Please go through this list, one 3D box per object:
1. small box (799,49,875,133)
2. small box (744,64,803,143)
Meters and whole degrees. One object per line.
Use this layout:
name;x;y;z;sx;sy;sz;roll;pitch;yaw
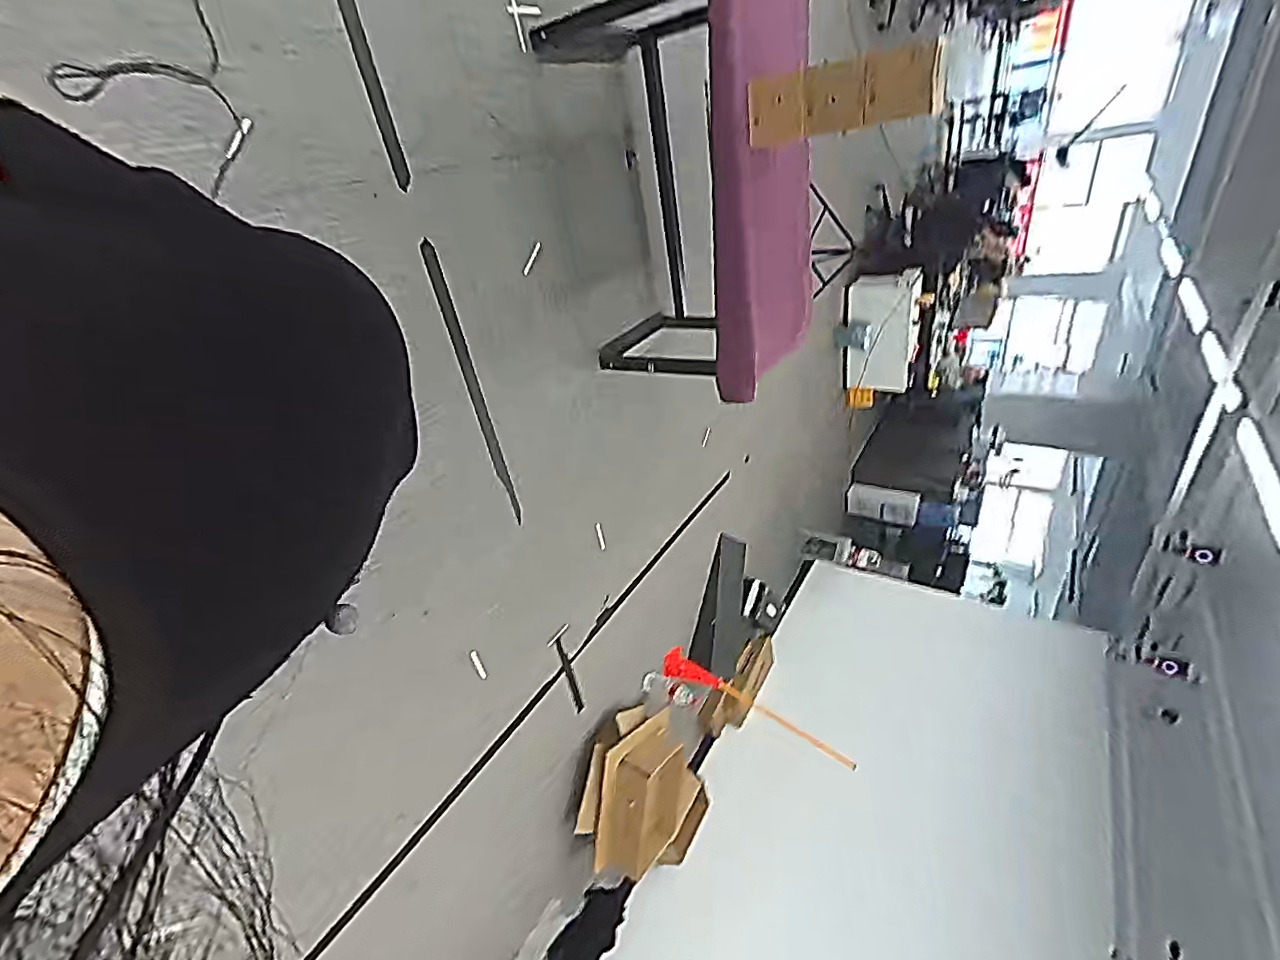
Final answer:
small box;0.557;-1.103;1.536;0.179;0.176;0.168;-45;135;-41
small box;0.419;-1.125;1.621;0.179;0.176;0.168;-43;133;-43
